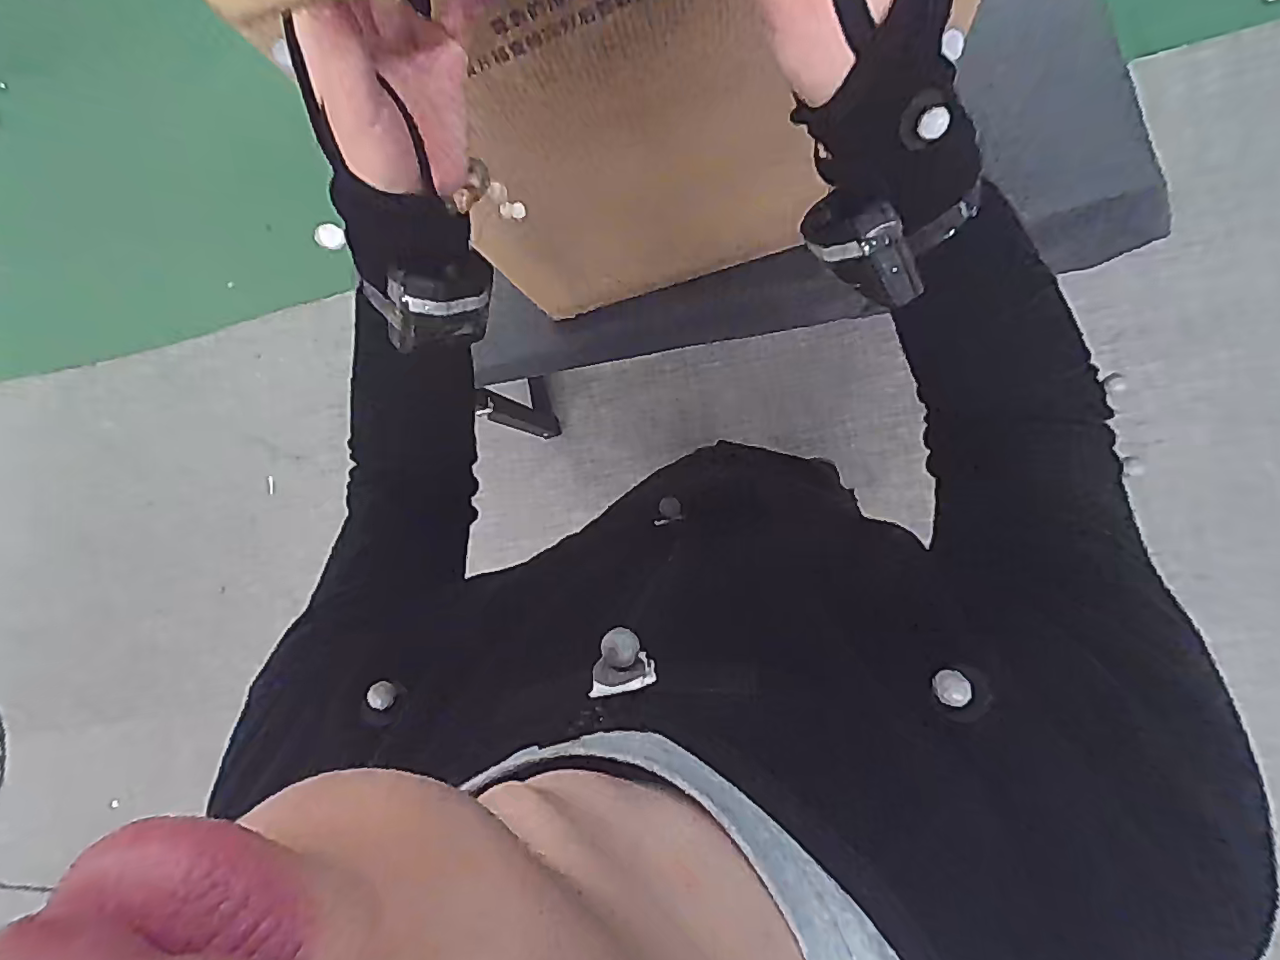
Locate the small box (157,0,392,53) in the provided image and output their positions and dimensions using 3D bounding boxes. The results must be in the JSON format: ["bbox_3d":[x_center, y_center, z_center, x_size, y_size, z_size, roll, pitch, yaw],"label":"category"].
[{"bbox_3d":[-0.062,-0.245,0.130,0.168,0.179,0.176,-8,44,13],"label":"small box"}]
